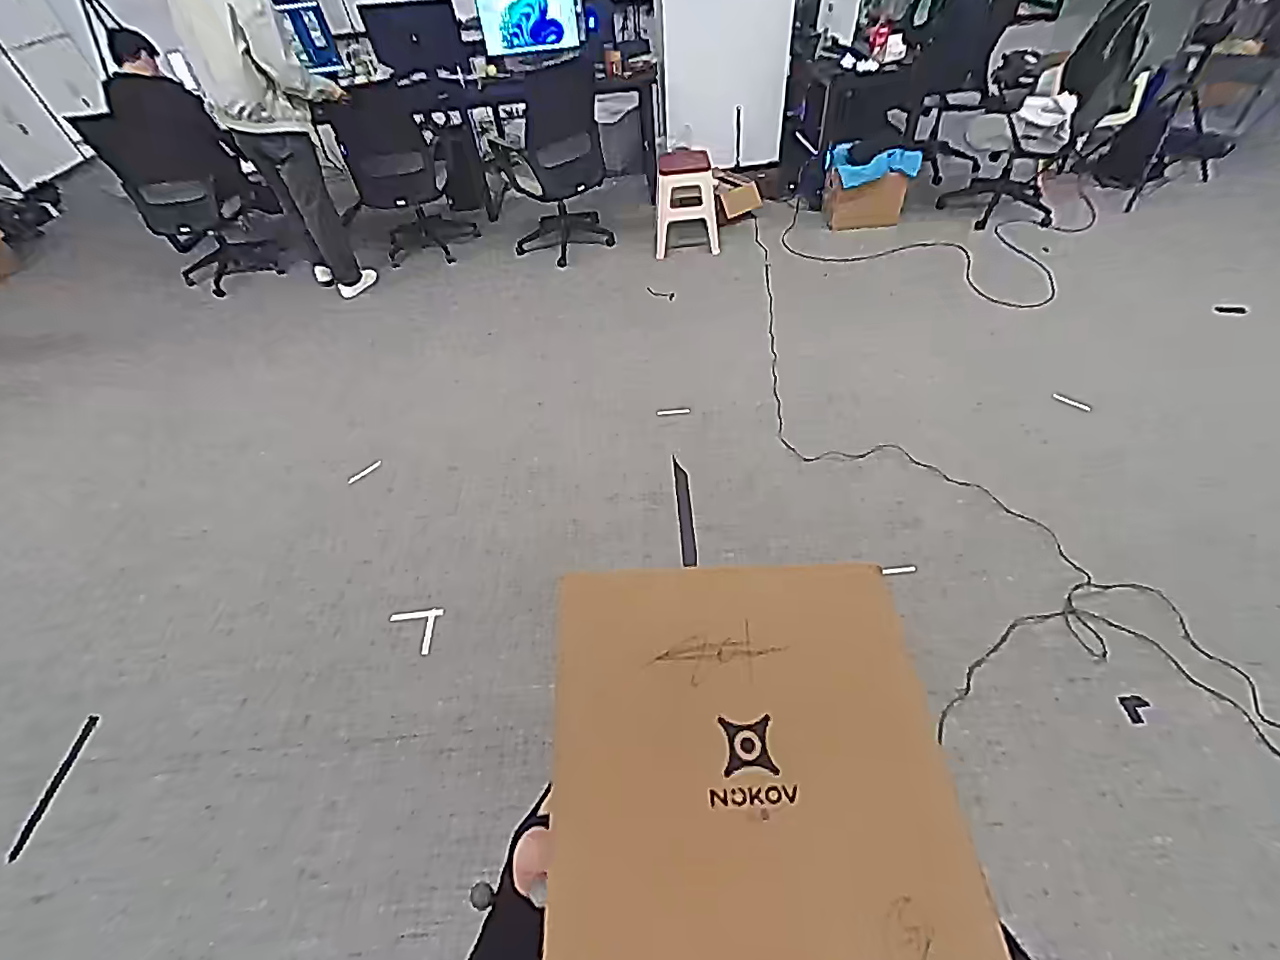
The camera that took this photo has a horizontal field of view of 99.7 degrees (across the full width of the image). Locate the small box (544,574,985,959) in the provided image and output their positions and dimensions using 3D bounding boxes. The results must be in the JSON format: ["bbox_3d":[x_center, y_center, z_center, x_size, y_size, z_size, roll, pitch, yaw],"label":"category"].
[{"bbox_3d":[0.042,0.168,0.302,0.168,0.176,0.179,-1,54,-4],"label":"small box"}]
